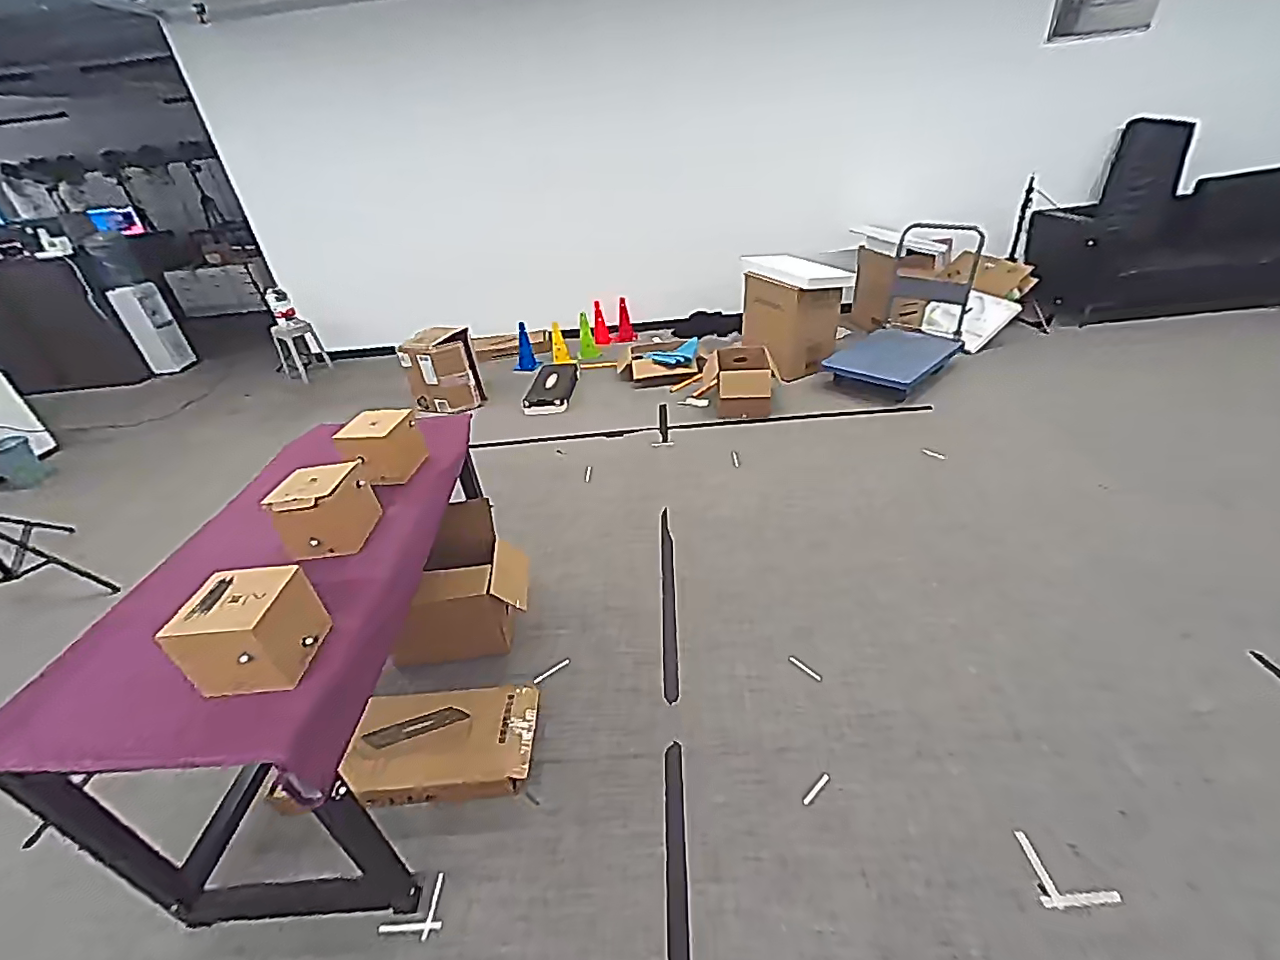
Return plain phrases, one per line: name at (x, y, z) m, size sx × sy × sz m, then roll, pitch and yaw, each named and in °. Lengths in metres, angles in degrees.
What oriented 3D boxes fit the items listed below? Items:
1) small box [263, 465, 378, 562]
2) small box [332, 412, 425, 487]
small box at (-0.790, 0.084, 1.363) m, size 0.168 × 0.176 × 0.179 m, roll -8°, pitch 33°, yaw 3°
small box at (-0.777, -0.089, 1.631) m, size 0.168 × 0.176 × 0.179 m, roll -2°, pitch 33°, yaw 7°
